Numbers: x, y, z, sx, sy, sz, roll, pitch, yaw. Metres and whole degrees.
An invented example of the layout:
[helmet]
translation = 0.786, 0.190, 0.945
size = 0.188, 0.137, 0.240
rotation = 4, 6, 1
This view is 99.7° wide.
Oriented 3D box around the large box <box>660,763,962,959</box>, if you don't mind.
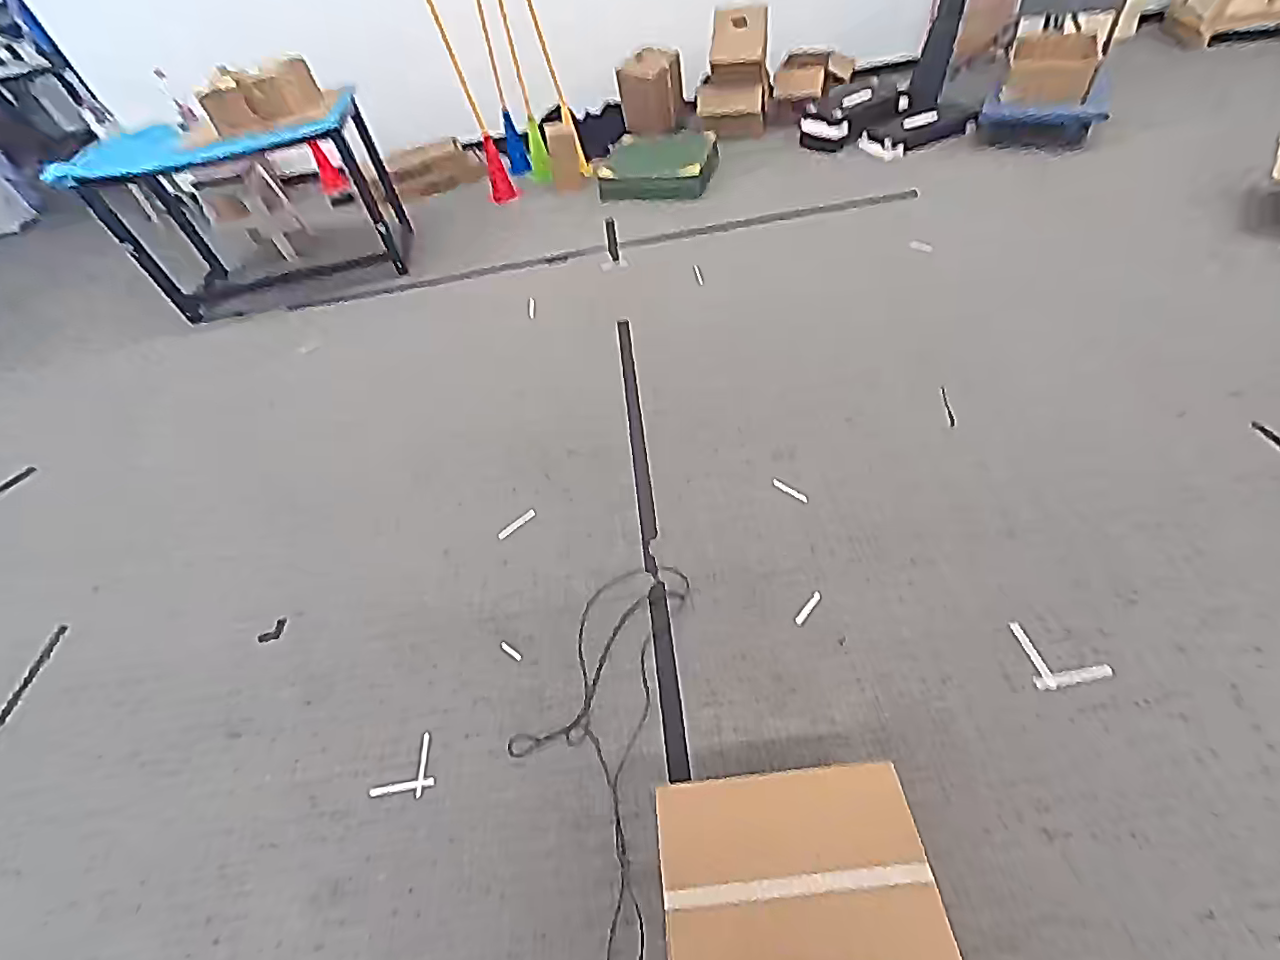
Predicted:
[large box]
translation = 0.261, 0.718, 0.931
size = 0.408, 0.320, 0.320
rotation = -8, 49, 3
